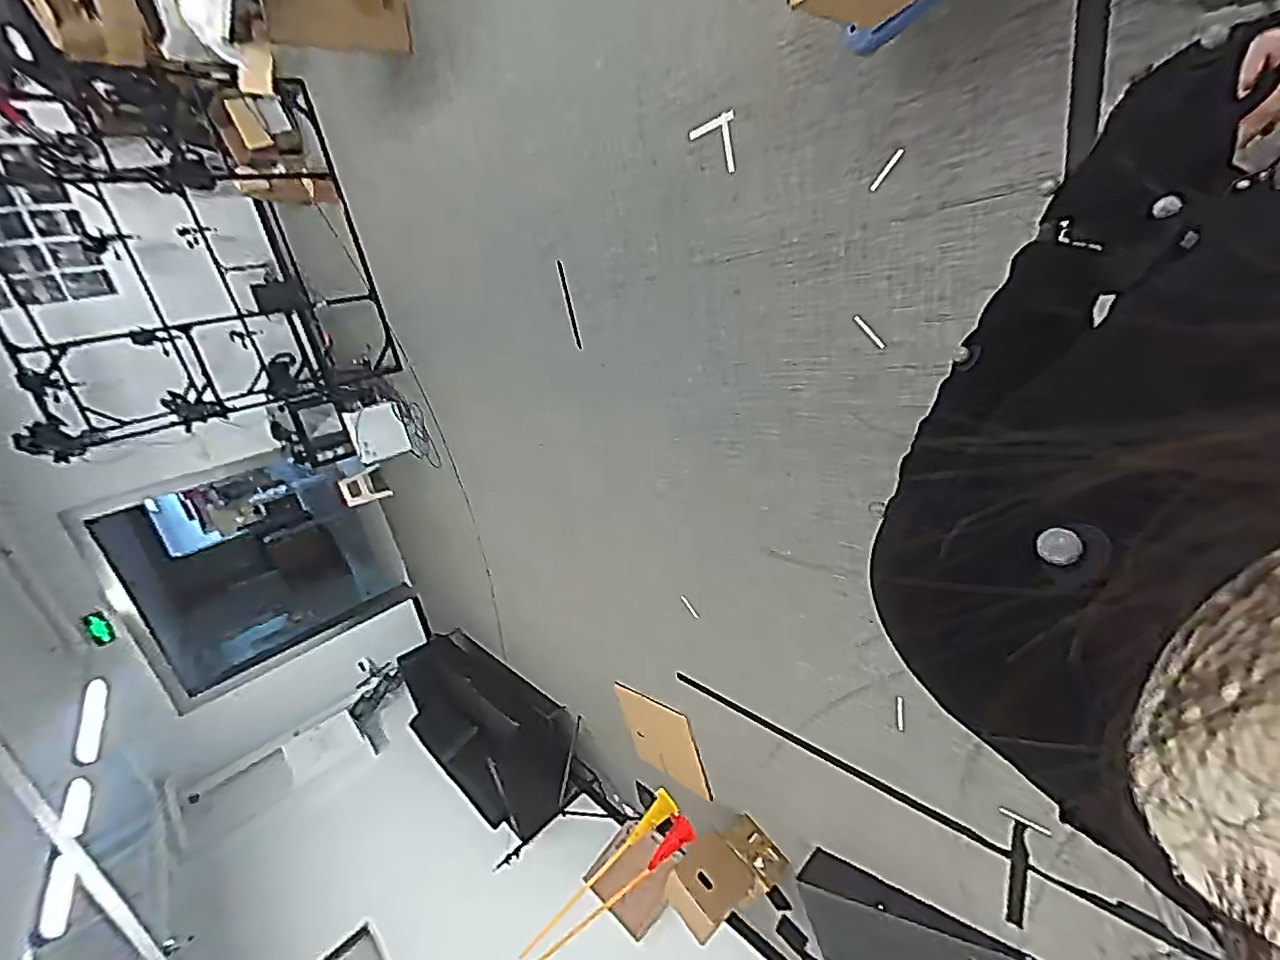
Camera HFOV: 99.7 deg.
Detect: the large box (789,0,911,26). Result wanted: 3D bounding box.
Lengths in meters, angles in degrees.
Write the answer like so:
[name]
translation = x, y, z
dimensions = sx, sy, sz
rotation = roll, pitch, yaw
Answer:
[large box]
translation = 0.441, -1.009, 0.825
dimensions = 0.408, 0.320, 0.320
rotation = -3, 108, 52
